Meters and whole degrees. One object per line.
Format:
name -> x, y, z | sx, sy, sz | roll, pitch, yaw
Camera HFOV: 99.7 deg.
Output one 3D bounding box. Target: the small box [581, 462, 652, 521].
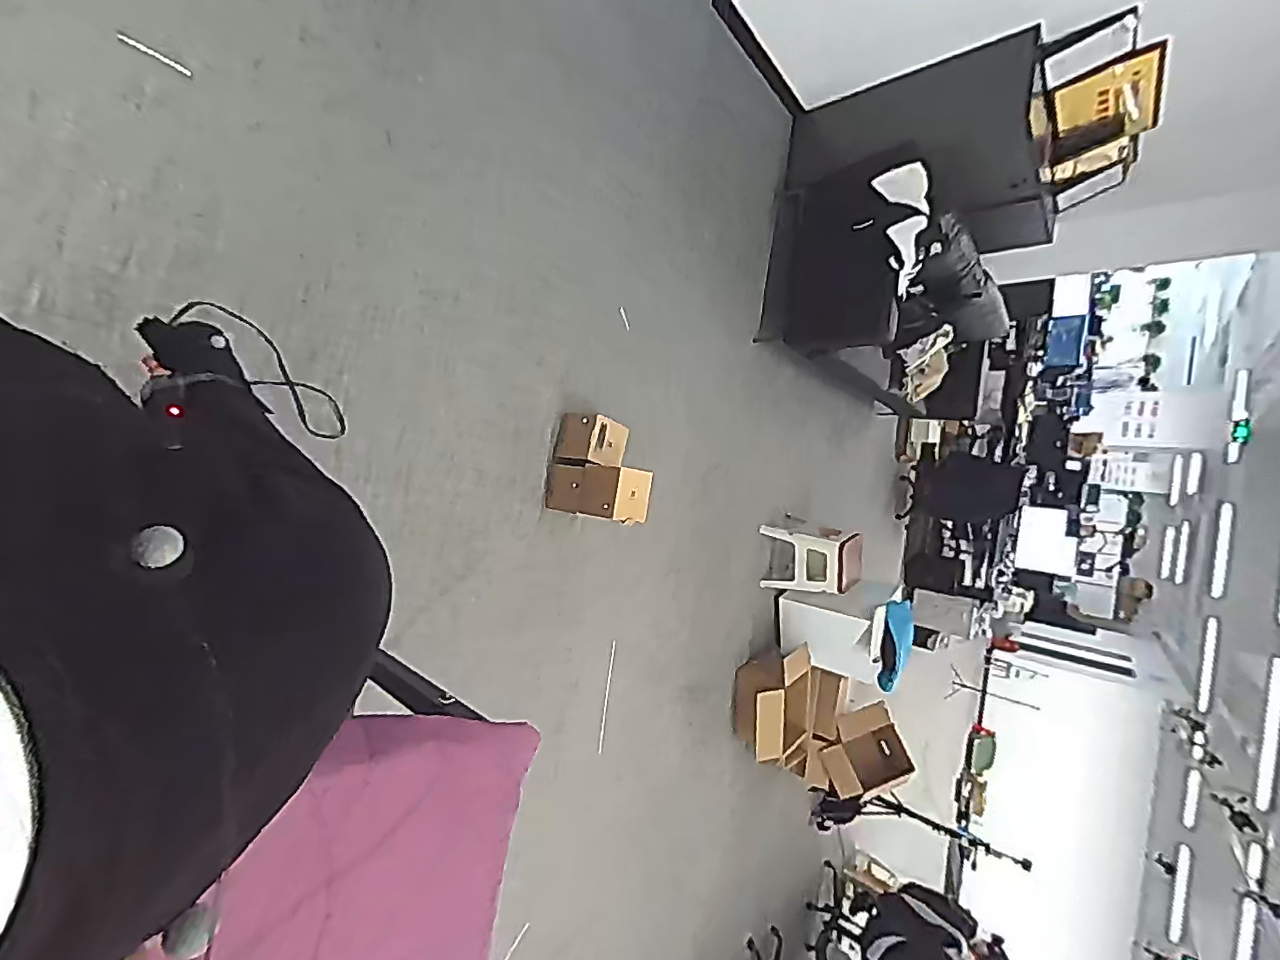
small box -> -0.082, 0.037, 1.838 | 0.168, 0.176, 0.179 | 9, 89, -49
